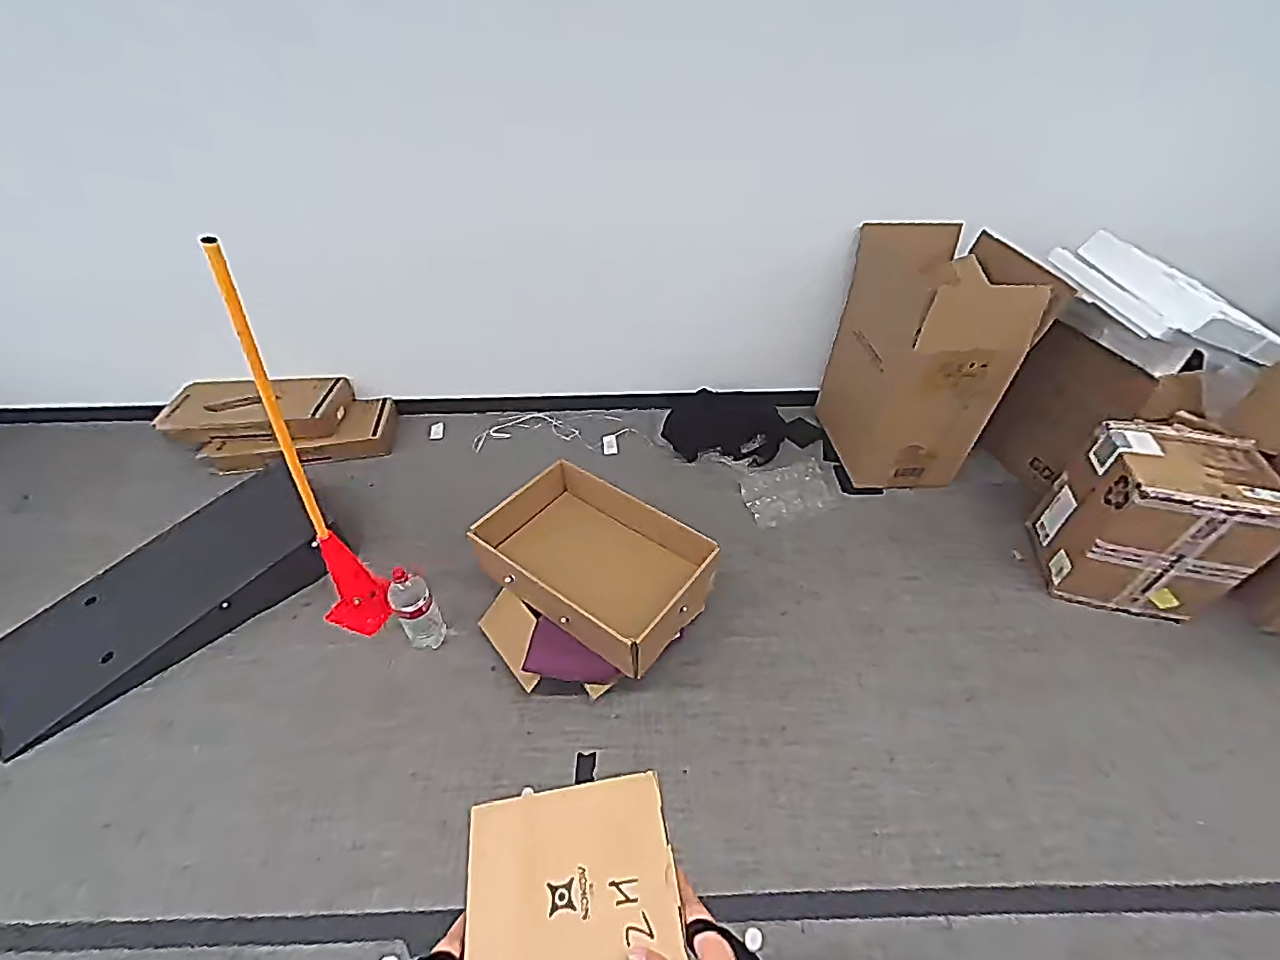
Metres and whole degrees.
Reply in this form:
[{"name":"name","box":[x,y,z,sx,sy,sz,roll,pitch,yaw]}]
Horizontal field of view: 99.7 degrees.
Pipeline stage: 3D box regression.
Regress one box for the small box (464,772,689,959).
[{"name":"small box","box":[-0.053,0.400,0.504,0.179,0.176,0.168,-8,46,-6]}]
